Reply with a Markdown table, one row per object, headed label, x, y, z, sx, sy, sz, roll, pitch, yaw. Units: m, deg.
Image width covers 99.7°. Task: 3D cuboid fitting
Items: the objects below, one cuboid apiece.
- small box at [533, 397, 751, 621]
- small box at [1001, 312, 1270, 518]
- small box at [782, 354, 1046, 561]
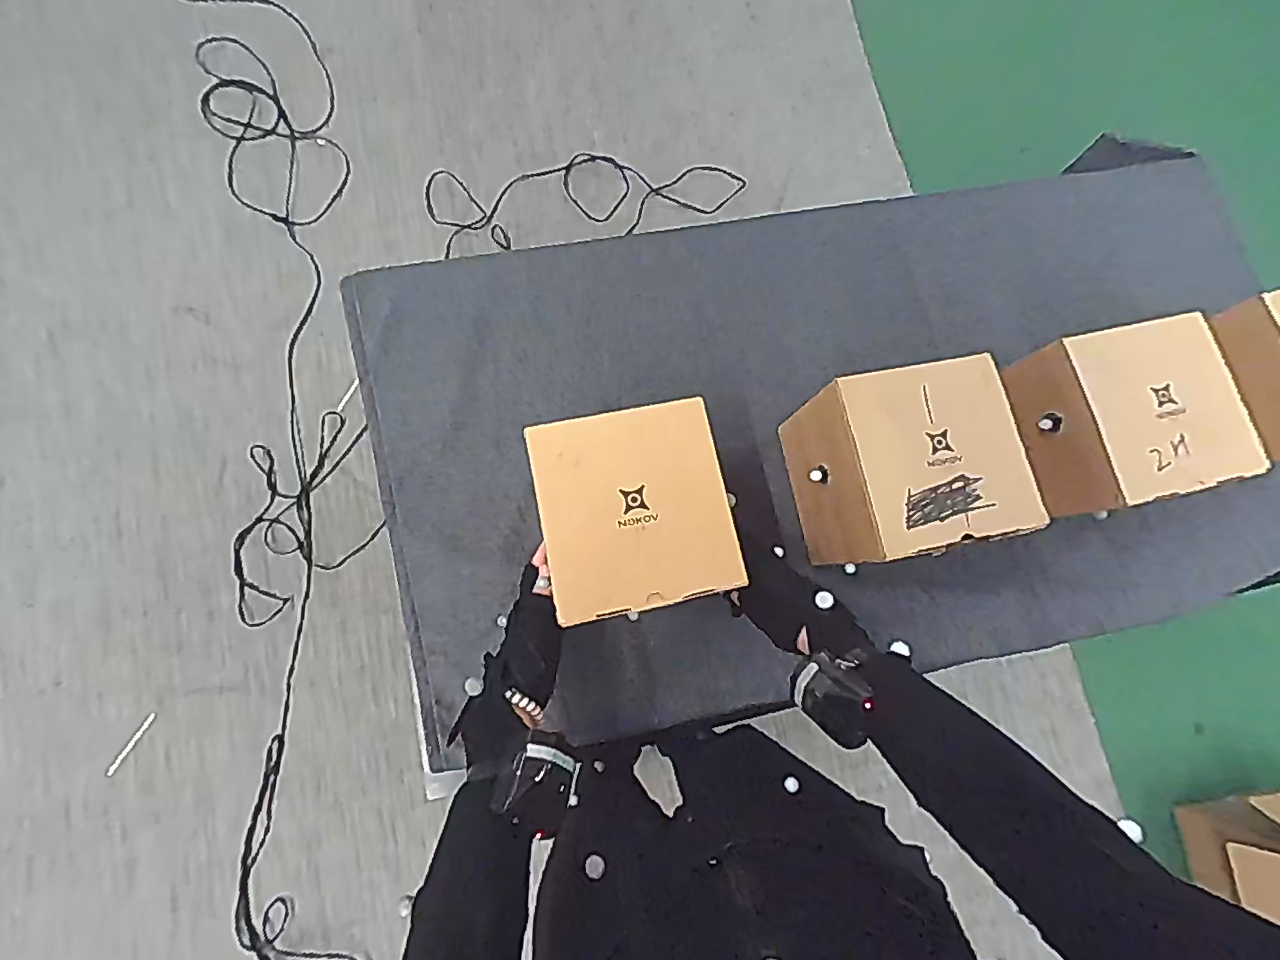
| label | x | y | z | sx | sy | sz | roll | pitch | yaw |
| --- | --- | --- | --- | --- | --- | --- | --- | --- | --- |
| small box | -0.009 | 0.037 | 0.546 | 0.168 | 0.176 | 0.179 | -11 | 80 | -8 |
| small box | 0.510 | -0.059 | 0.610 | 0.168 | 0.176 | 0.179 | -12 | 80 | -7 |
| small box | 0.273 | -0.011 | 0.581 | 0.168 | 0.176 | 0.179 | -10 | 79 | -7 |
